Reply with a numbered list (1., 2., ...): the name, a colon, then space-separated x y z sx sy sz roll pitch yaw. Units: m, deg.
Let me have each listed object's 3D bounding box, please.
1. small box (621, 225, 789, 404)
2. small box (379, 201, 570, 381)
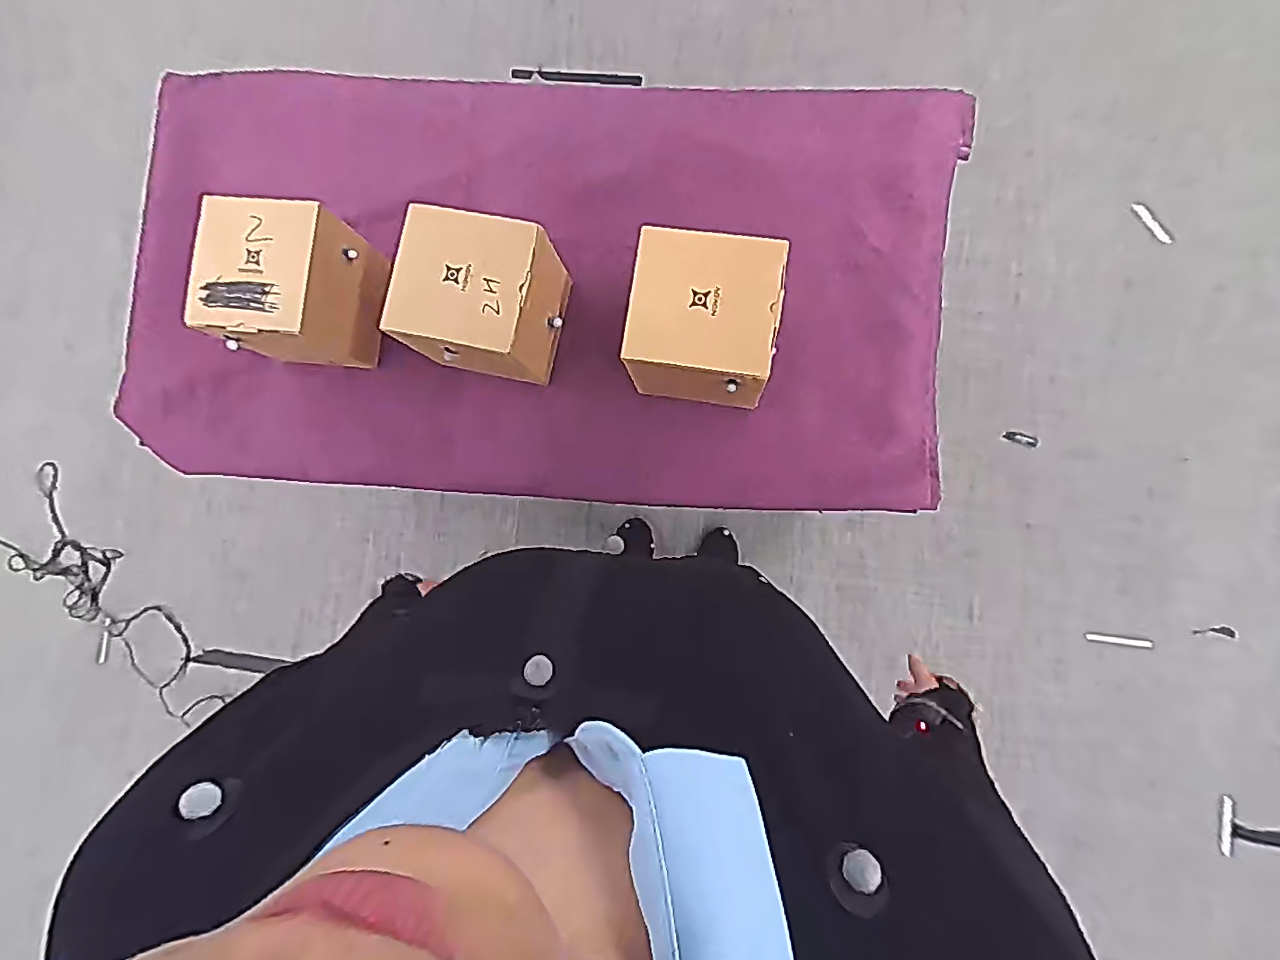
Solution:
1. small box: 0.083 -0.204 0.706 0.179 0.176 0.168 9 86 6
2. small box: -0.212 -0.245 0.738 0.179 0.176 0.168 13 88 6
